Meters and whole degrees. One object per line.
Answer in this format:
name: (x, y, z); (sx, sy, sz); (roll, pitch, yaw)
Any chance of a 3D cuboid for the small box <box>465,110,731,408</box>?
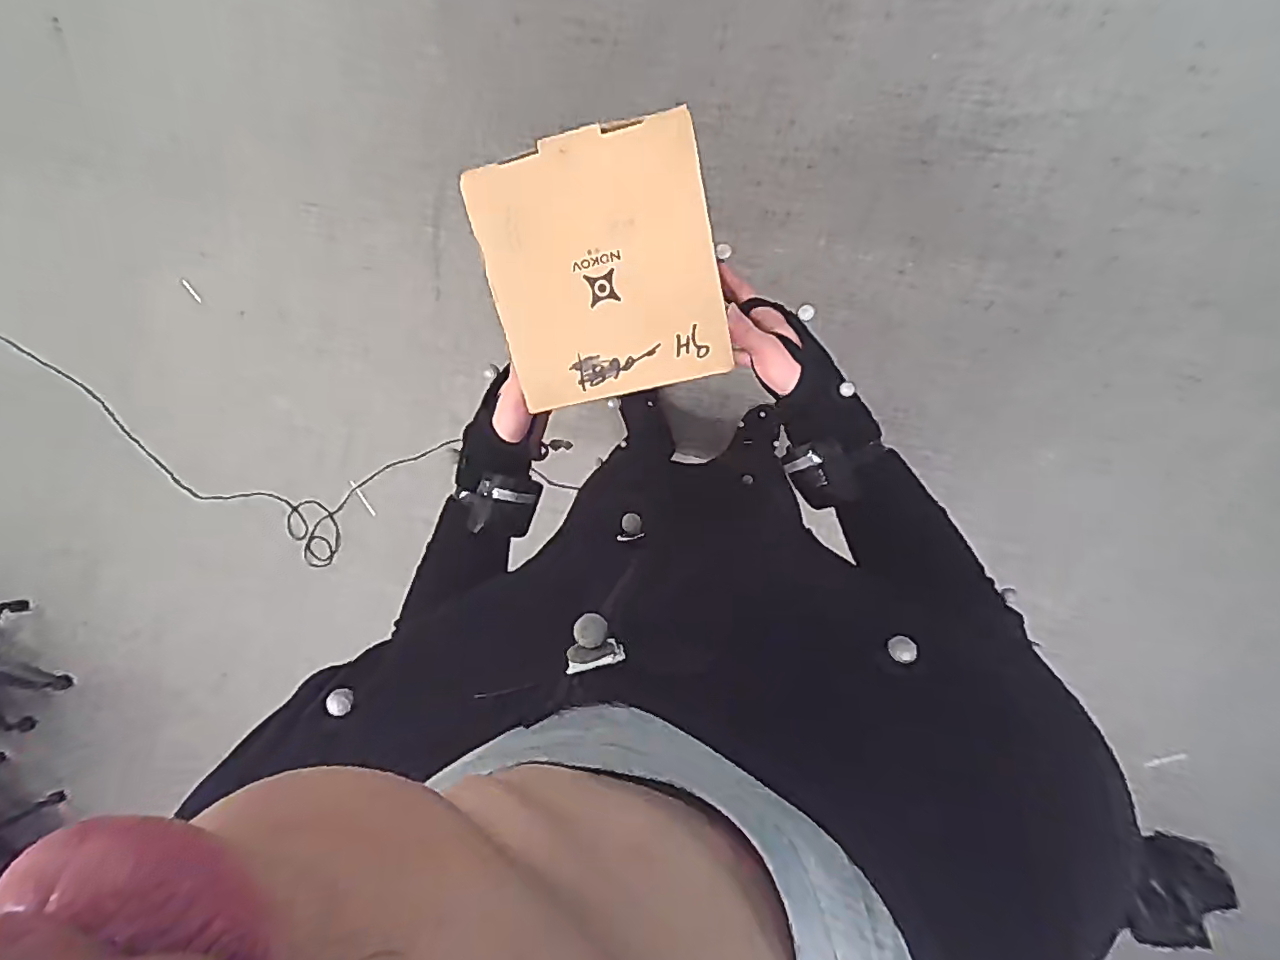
small box: (-0.019, -0.173, 0.464); (0.168, 0.176, 0.179); (-9, 107, 11)
